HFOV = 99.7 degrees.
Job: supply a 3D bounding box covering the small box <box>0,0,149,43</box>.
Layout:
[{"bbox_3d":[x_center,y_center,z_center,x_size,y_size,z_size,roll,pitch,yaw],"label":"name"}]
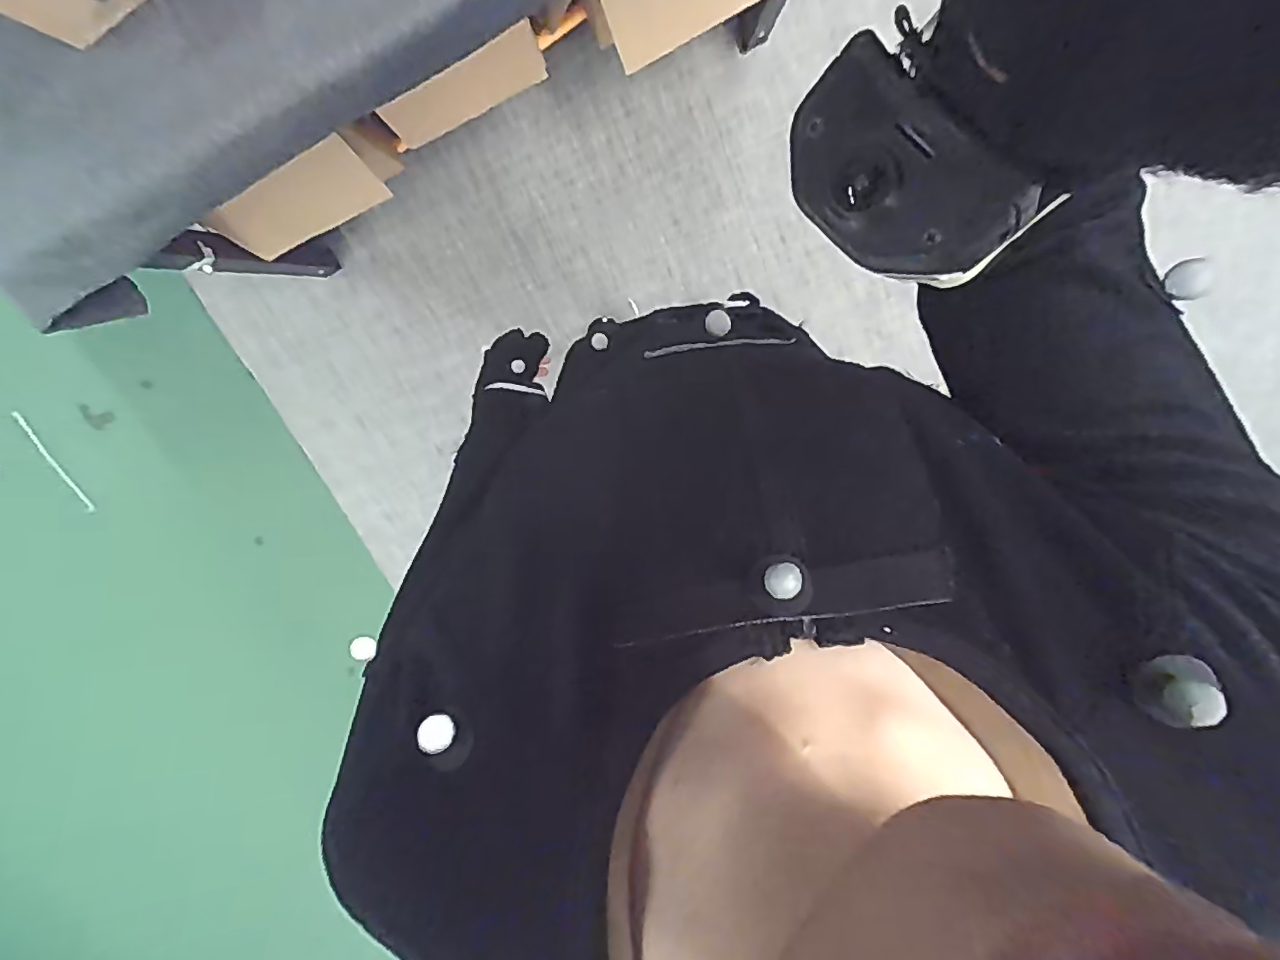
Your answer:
[{"bbox_3d":[-0.576,-0.552,0.479,0.168,0.176,0.179,-28,107,10],"label":"small box"}]
